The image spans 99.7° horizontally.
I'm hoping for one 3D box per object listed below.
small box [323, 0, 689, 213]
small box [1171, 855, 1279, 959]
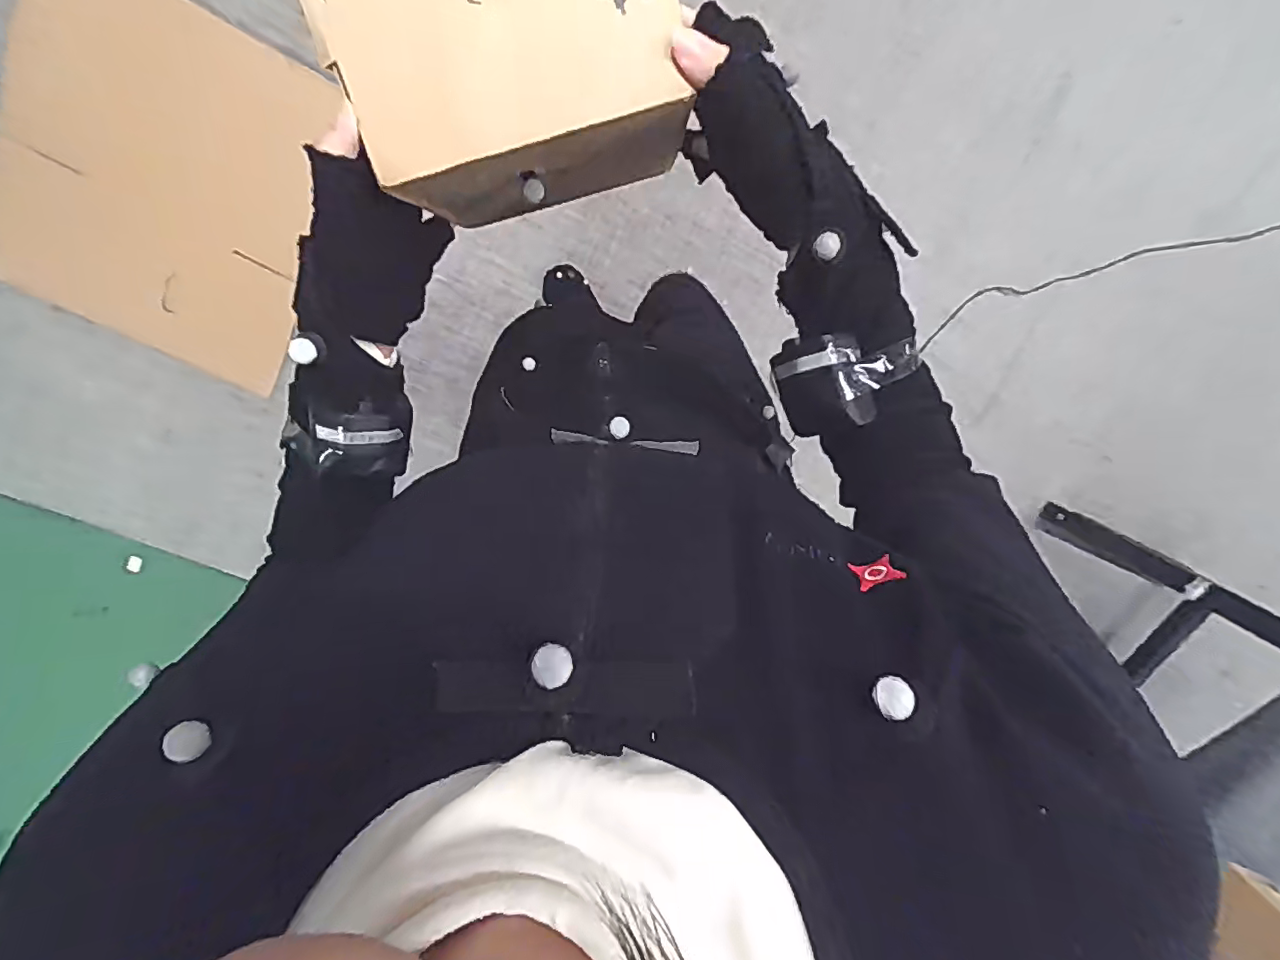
[{"bbox_3d":[-0.078,-0.290,0.340,0.179,0.176,0.168,-17,105,4],"label":"small box"},{"bbox_3d":[1.171,0.859,1.017,0.168,0.176,0.179,26,107,-15],"label":"small box"}]
